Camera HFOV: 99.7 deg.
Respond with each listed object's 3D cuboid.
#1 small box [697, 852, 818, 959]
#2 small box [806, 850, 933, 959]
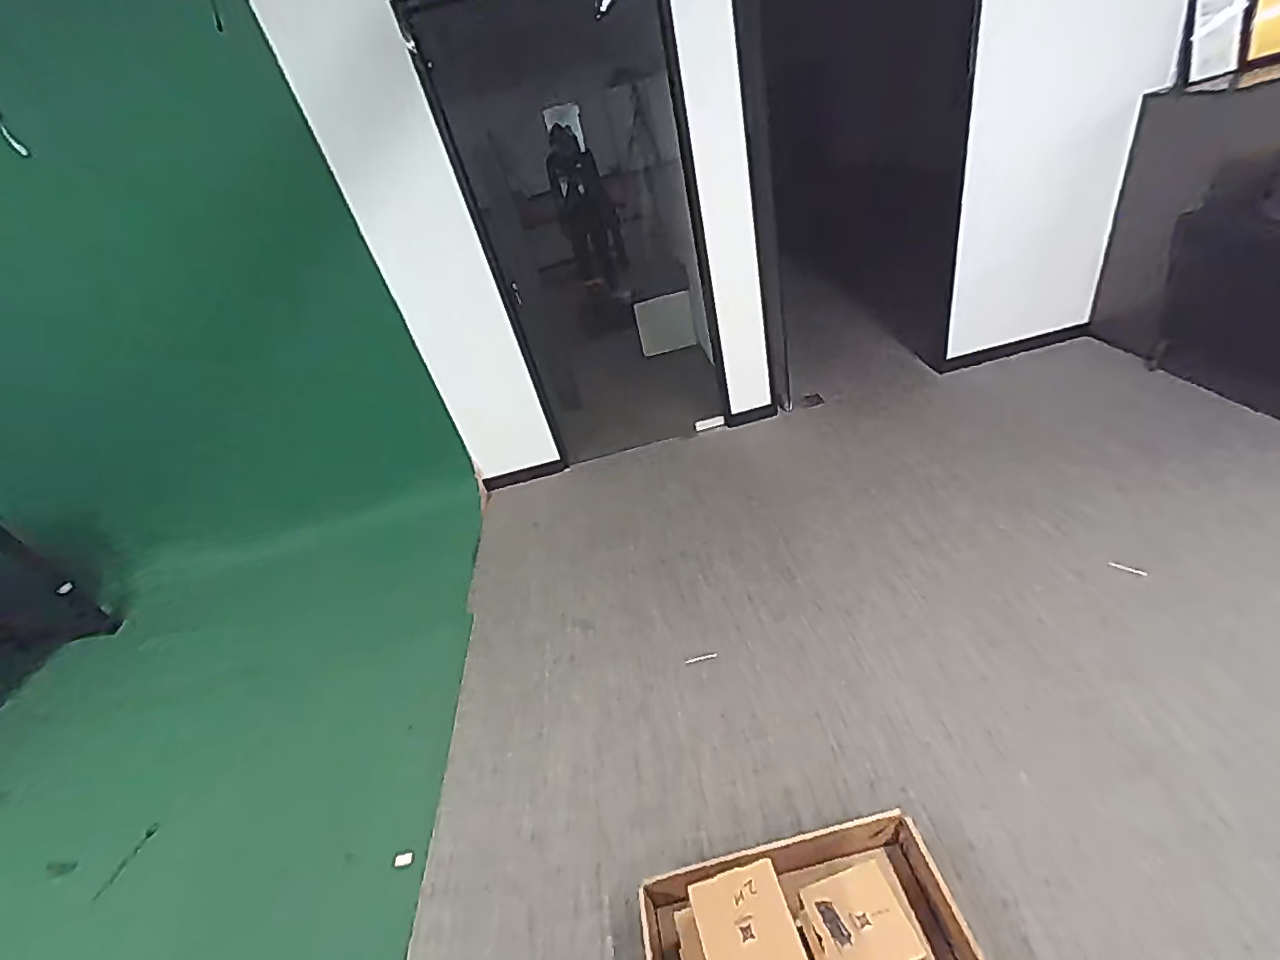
[{"bbox_3d":[0.217,0.834,0.995,0.168,0.176,0.179,-17,36,-4],"label":"small box"},{"bbox_3d":[0.459,0.897,1.091,0.179,0.176,0.168,-20,35,-4],"label":"small box"}]
